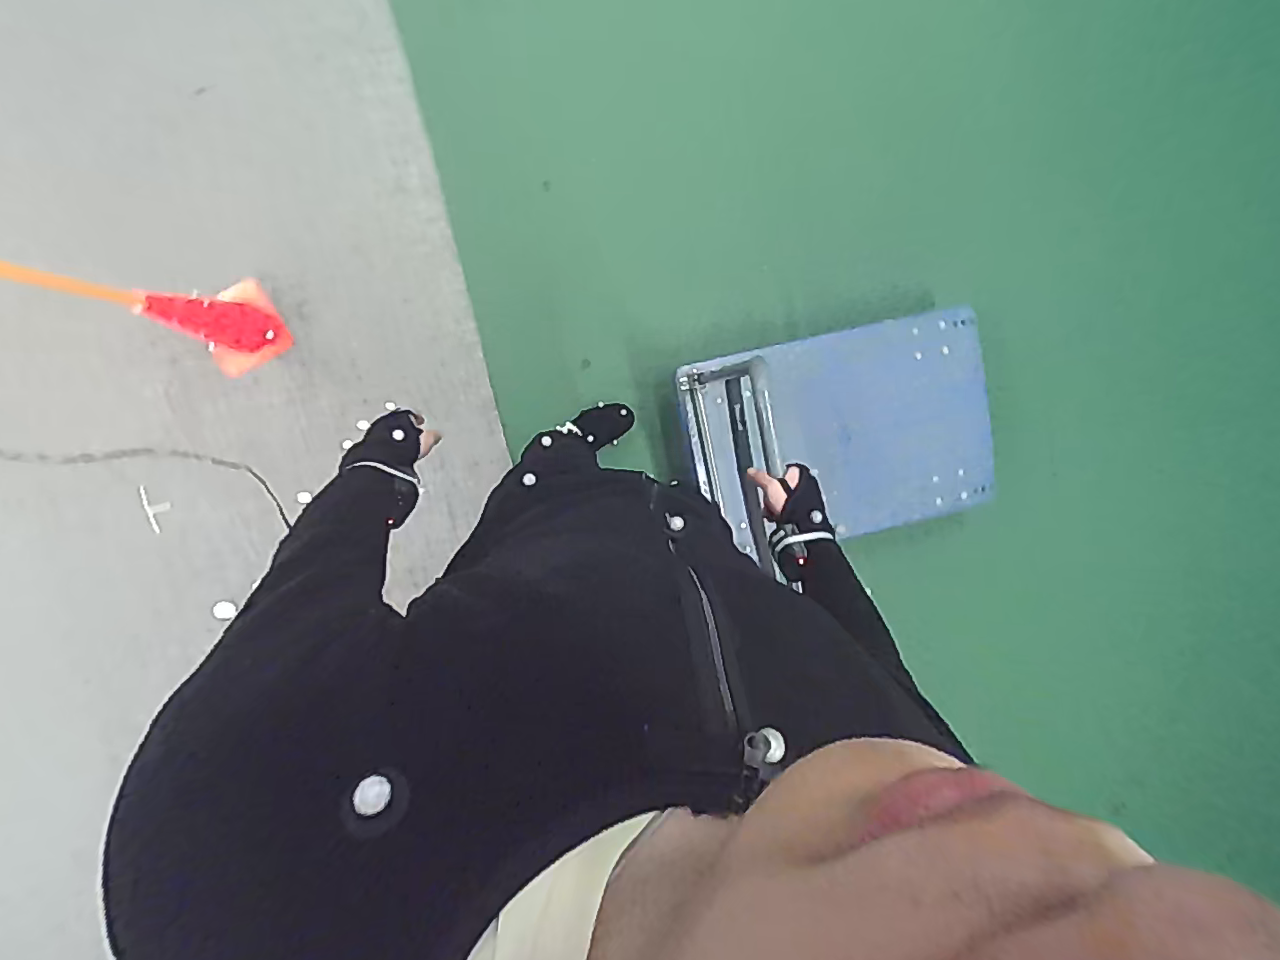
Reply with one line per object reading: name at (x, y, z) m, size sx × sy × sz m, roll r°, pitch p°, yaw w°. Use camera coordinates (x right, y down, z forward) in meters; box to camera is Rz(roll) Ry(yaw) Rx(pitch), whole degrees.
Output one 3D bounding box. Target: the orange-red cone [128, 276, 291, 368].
orange-red cone at (-1.051, -0.404, 1.281) m, size 0.198 × 0.360 × 0.199 m, roll -28°, pitch 98°, yaw -3°
